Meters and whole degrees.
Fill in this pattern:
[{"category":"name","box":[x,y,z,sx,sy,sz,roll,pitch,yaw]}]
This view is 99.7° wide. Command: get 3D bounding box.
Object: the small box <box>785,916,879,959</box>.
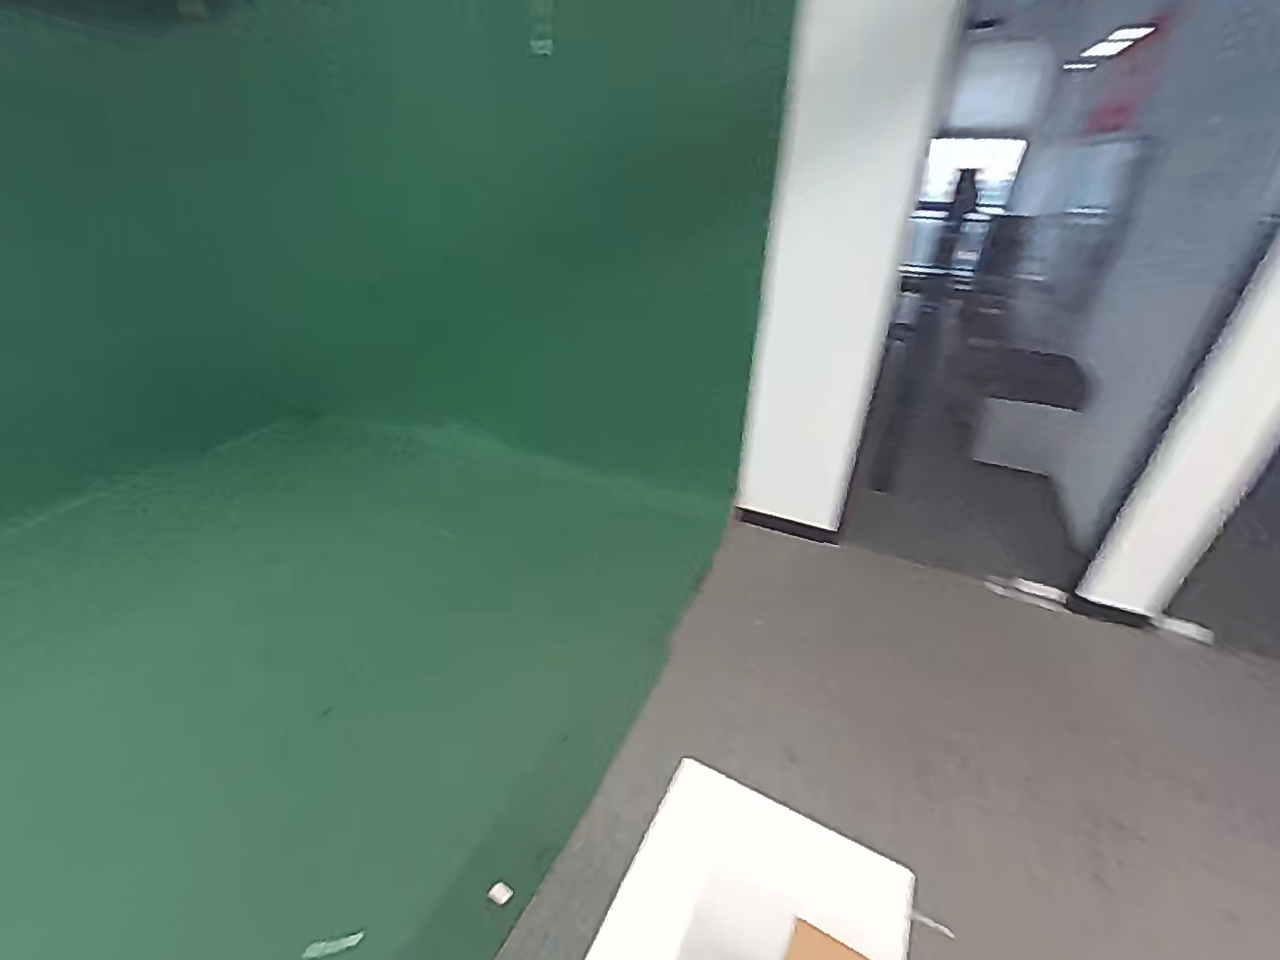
[{"category":"small box","box":[0.233,0.667,0.617,0.179,0.176,0.168,15,32,25]}]
